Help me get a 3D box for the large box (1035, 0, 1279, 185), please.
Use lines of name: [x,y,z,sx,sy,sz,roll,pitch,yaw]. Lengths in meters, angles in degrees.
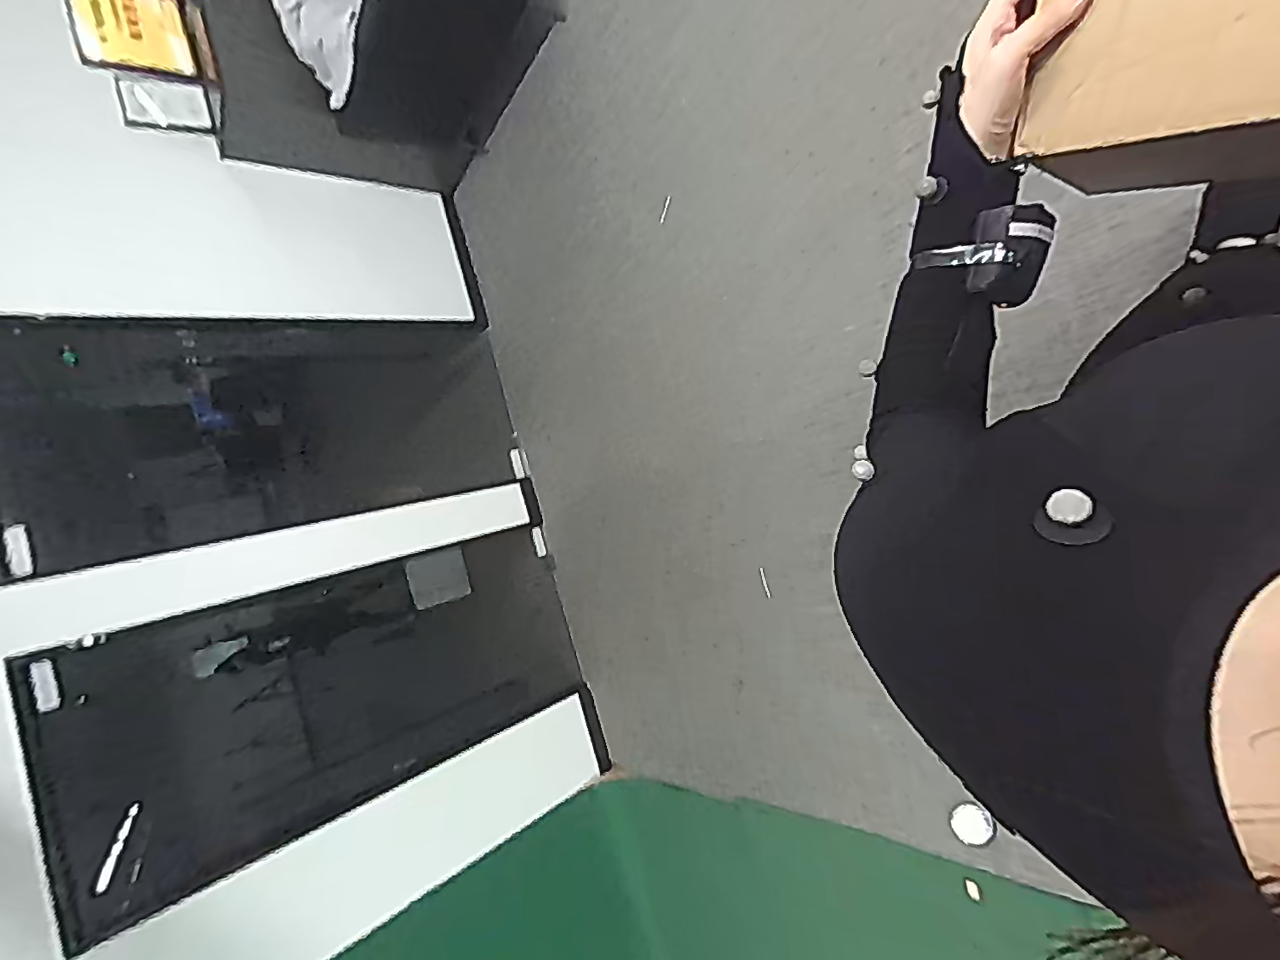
large box: [0.522,-0.389,0.312,0.408,0.320,0.320,16,117,41]
